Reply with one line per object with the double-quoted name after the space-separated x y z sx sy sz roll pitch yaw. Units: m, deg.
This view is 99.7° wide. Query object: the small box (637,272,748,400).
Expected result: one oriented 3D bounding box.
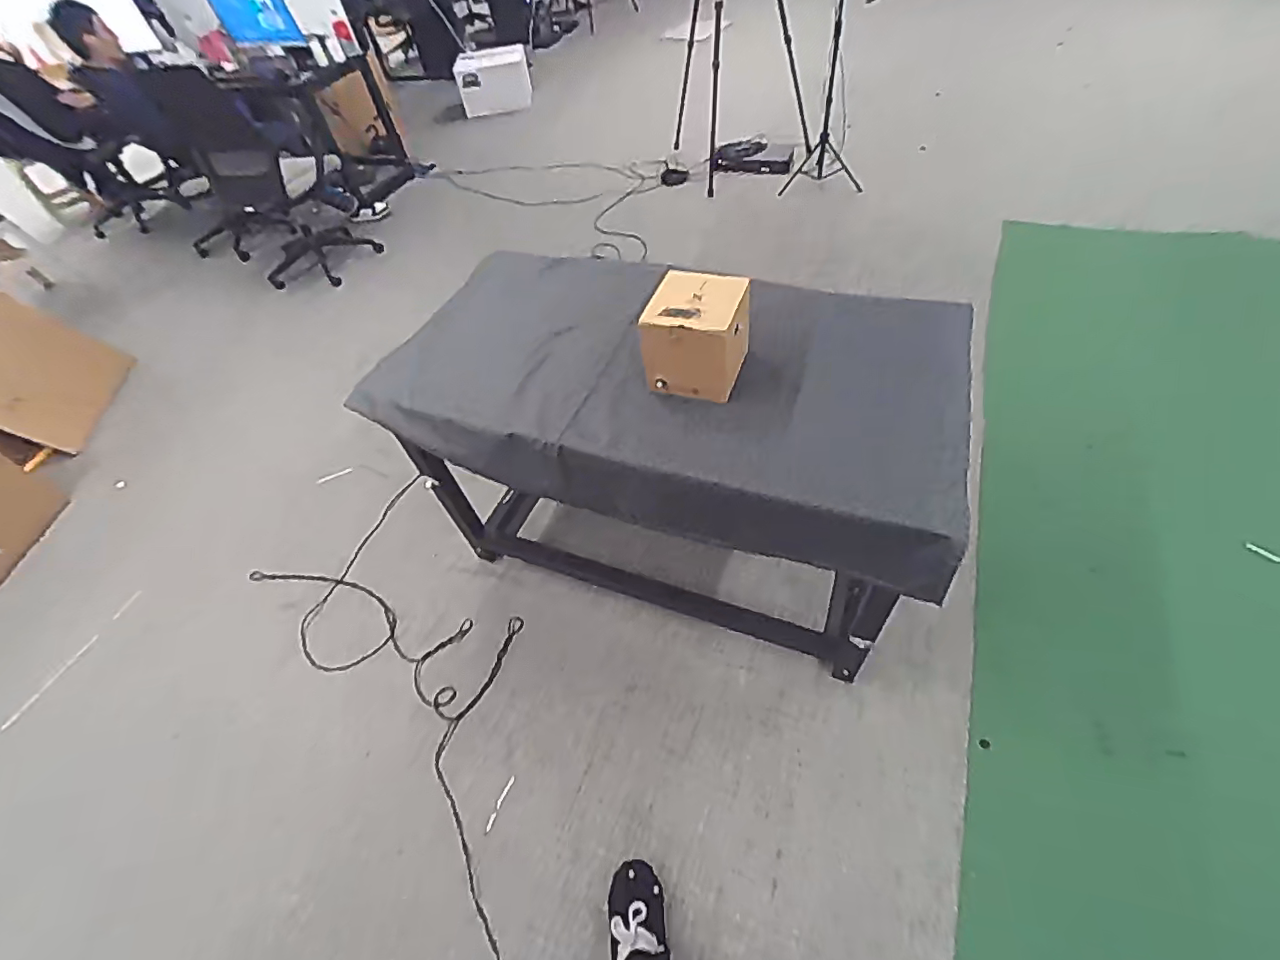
0.110 -0.280 1.055 0.168 0.176 0.179 13 53 19 "small box"
